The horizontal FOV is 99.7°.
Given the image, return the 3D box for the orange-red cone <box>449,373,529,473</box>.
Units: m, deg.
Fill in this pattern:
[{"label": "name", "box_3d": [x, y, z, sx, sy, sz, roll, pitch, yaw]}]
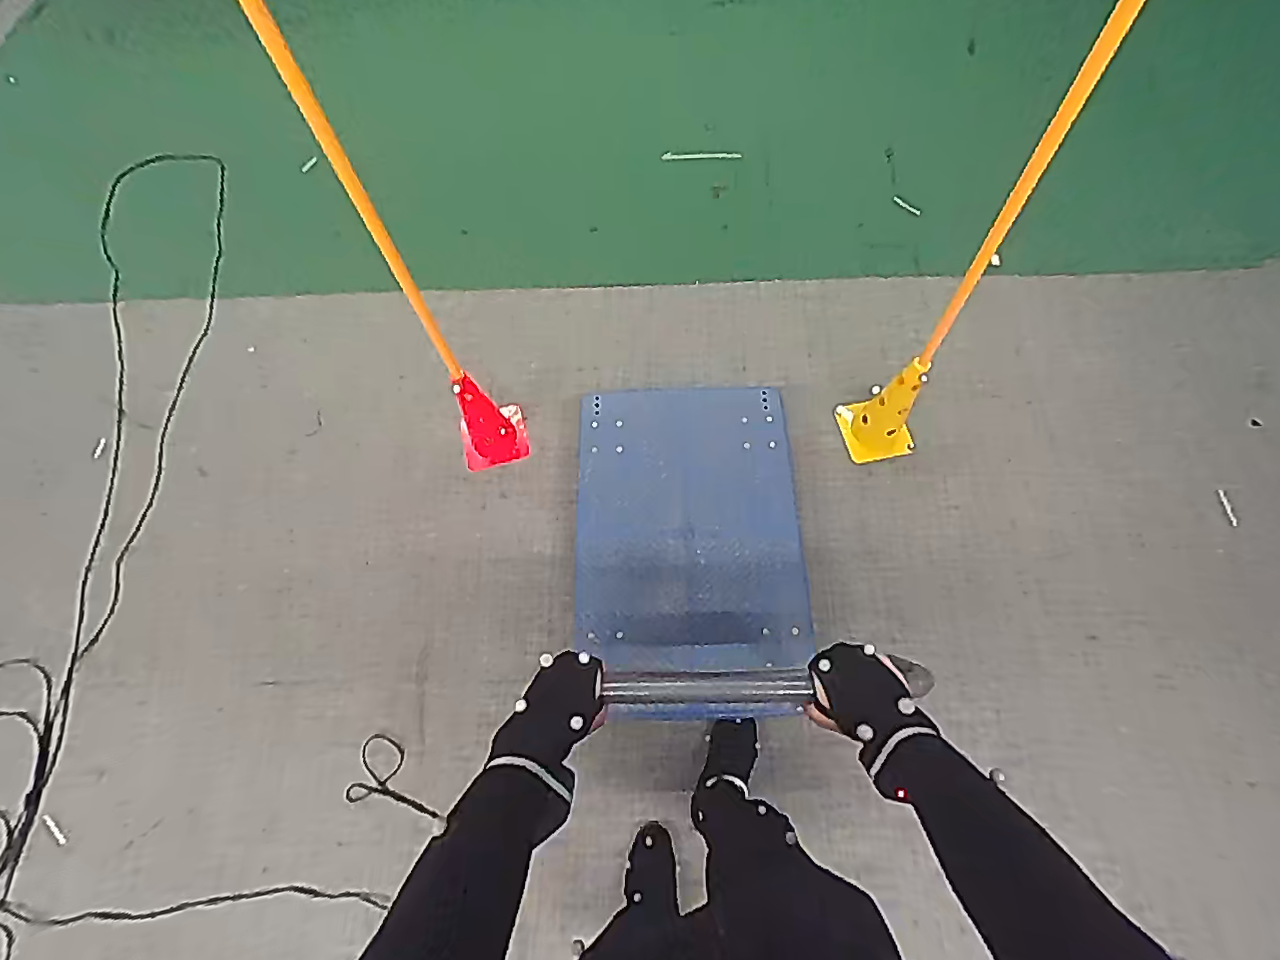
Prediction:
[{"label": "orange-red cone", "box_3d": [-0.466, -0.191, 1.553, 0.199, 0.360, 0.198, -15, 67, -3]}]
